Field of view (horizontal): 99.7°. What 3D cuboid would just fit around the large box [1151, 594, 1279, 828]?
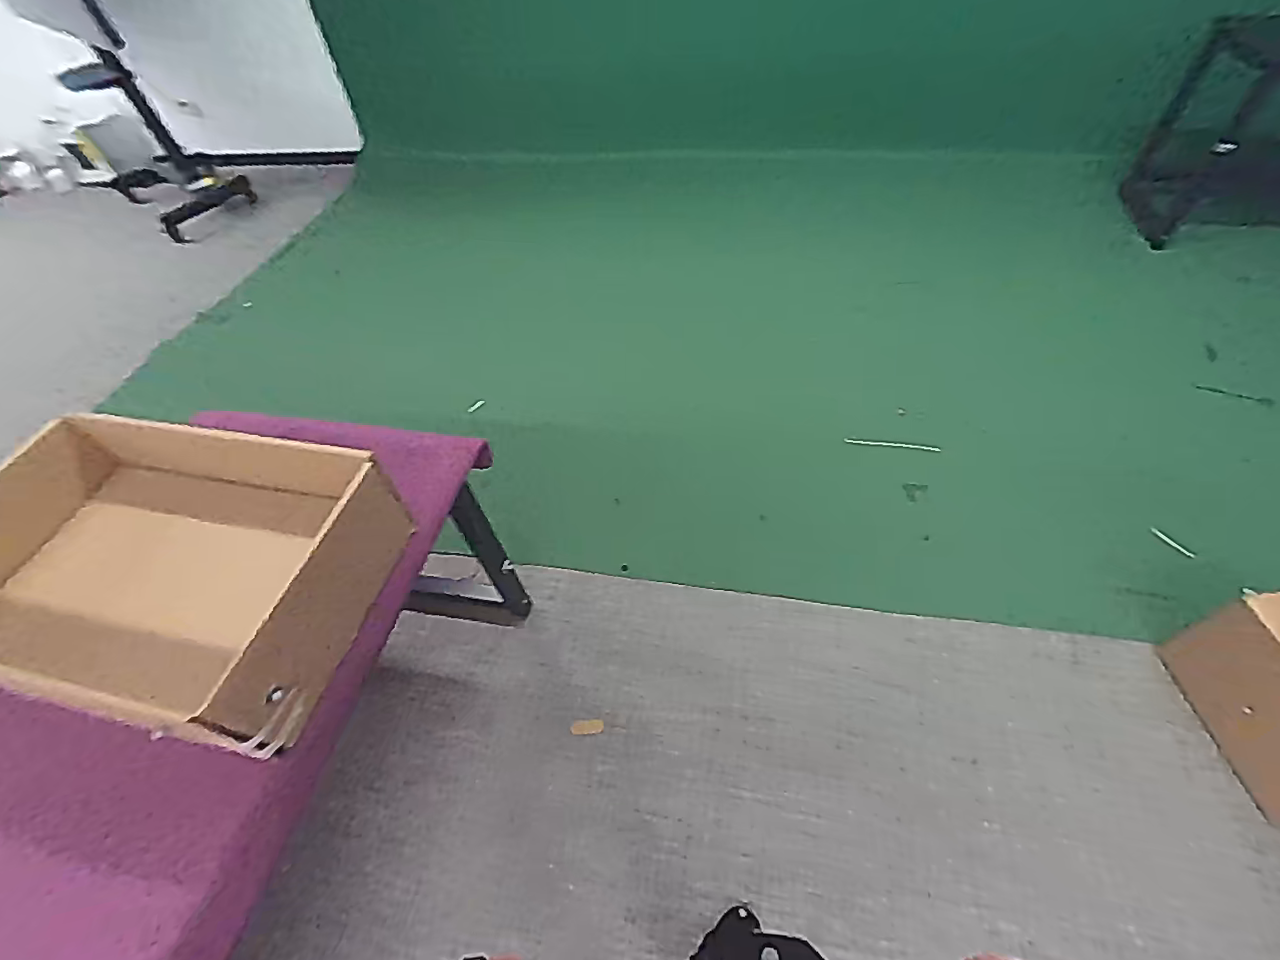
[{"bbox_3d":[1.496,0.496,1.186,0.320,0.320,0.408,-5,49,1],"label":"large box"}]
